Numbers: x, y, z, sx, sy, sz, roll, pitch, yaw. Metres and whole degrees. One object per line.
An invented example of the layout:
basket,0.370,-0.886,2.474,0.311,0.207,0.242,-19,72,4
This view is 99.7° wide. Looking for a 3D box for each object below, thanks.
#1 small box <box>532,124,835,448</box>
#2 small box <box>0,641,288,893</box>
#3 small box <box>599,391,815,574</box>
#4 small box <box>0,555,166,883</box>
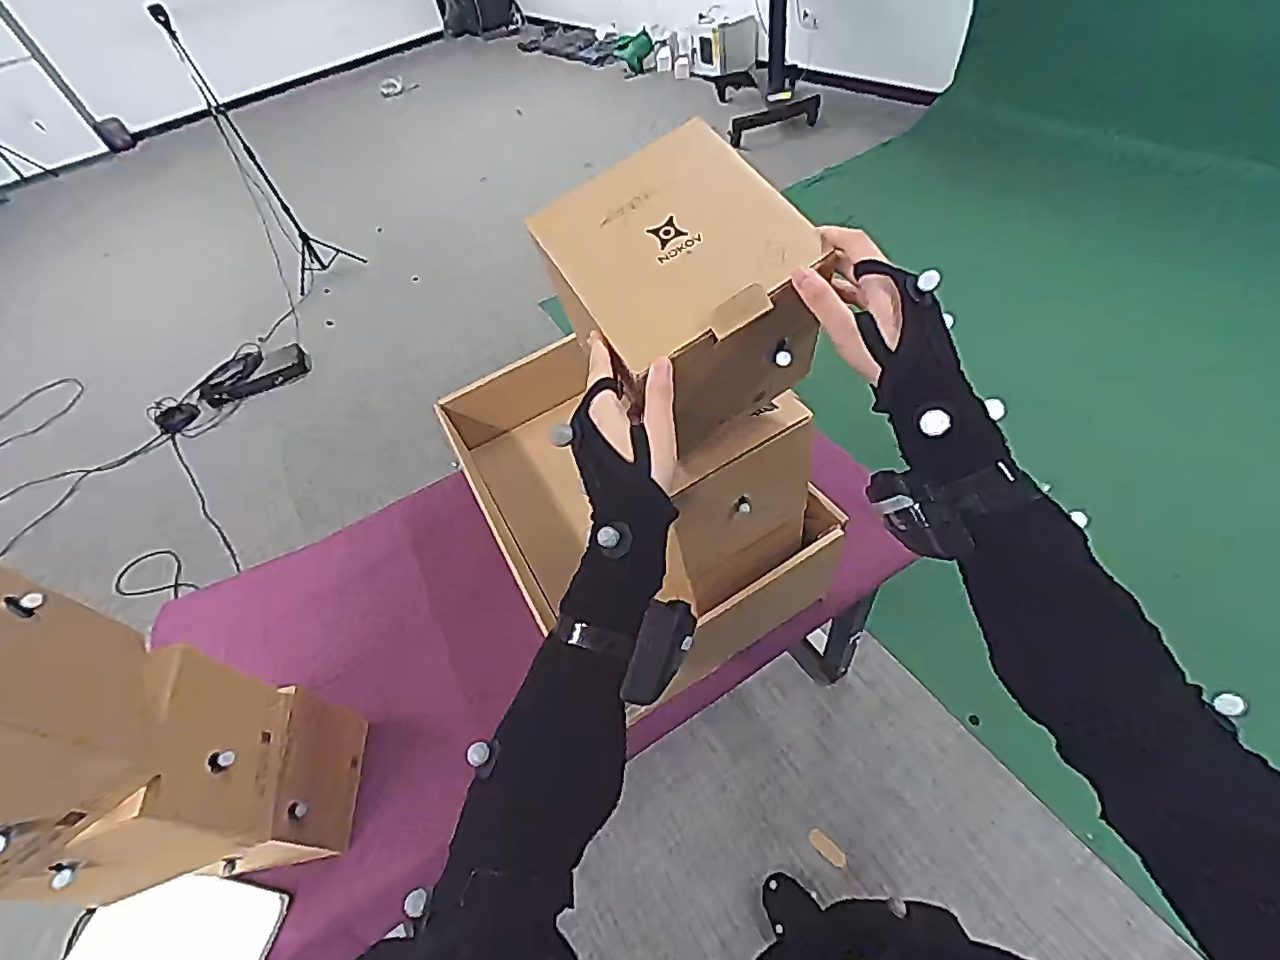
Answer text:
small box,0.038,-0.149,0.470,0.168,0.176,0.179,-31,67,-3
small box,-0.503,0.297,0.557,0.179,0.176,0.168,-20,50,-4
small box,0.078,-0.024,0.632,0.179,0.176,0.168,-29,51,-9
small box,-0.536,0.196,0.432,0.168,0.176,0.179,-38,54,-18
